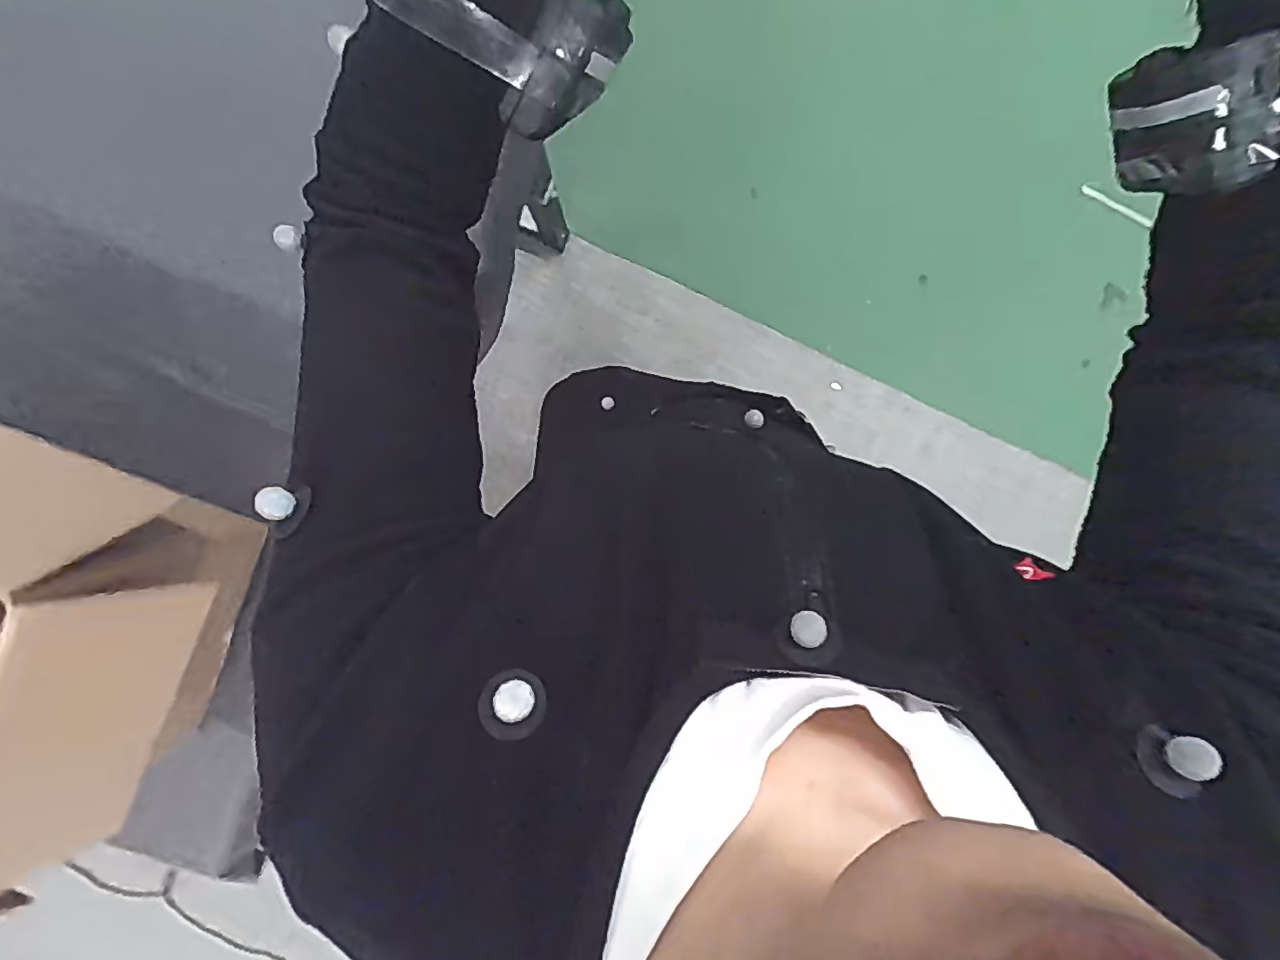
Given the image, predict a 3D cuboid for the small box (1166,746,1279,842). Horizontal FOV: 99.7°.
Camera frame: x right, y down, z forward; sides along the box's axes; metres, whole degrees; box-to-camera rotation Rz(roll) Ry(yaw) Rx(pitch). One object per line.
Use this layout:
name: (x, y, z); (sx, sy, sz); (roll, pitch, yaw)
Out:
small box: (1.605, 0.866, 1.466); (0.168, 0.176, 0.179); (24, 98, -3)
